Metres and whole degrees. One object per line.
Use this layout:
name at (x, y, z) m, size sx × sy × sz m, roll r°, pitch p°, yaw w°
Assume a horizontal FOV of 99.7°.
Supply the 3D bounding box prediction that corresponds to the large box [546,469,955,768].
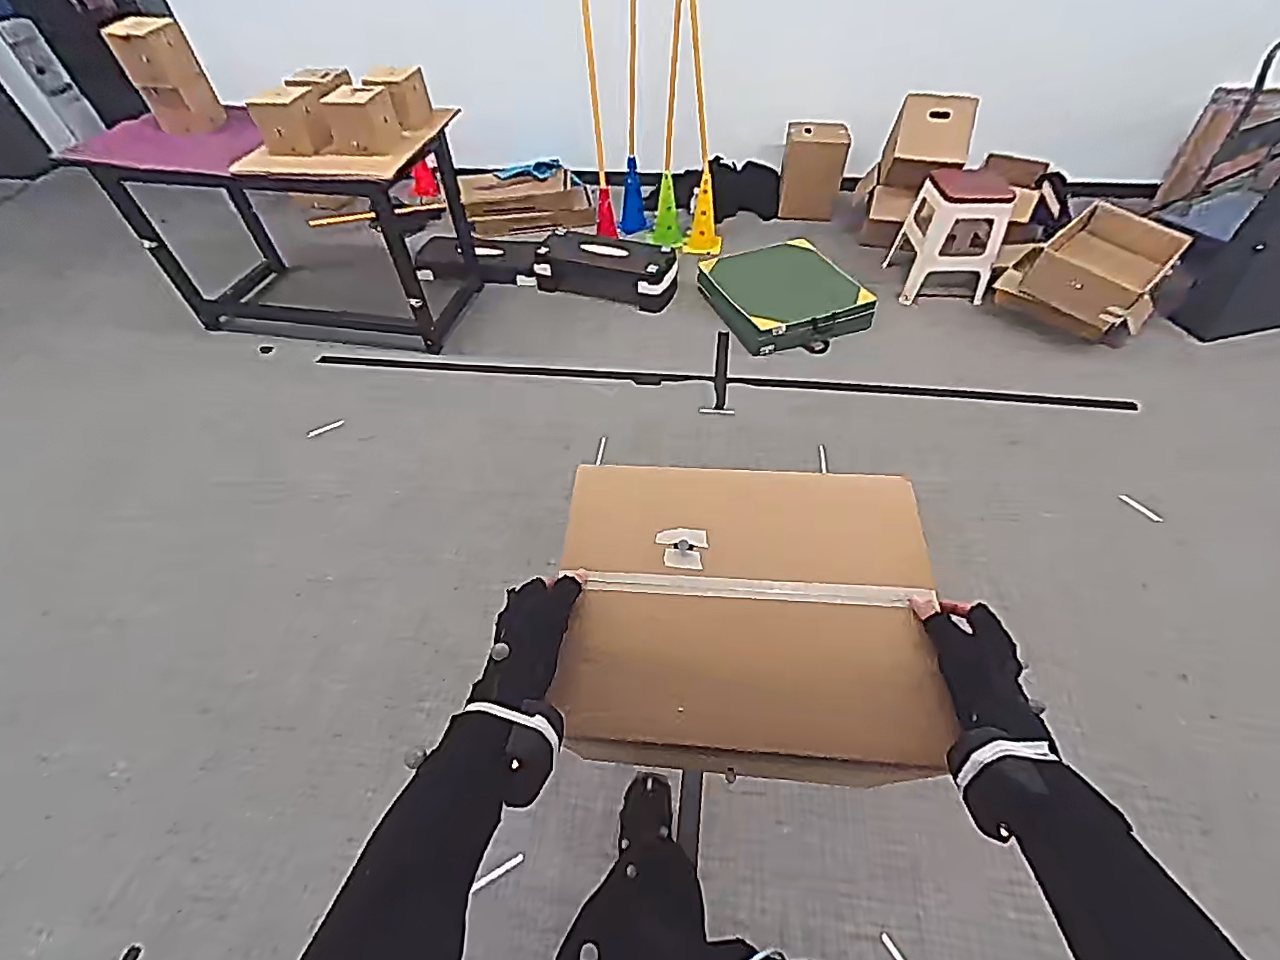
large box at (0.124, 0.197, 0.729) m, size 0.408 × 0.320 × 0.320 m, roll 2°, pitch 58°, yaw 6°
